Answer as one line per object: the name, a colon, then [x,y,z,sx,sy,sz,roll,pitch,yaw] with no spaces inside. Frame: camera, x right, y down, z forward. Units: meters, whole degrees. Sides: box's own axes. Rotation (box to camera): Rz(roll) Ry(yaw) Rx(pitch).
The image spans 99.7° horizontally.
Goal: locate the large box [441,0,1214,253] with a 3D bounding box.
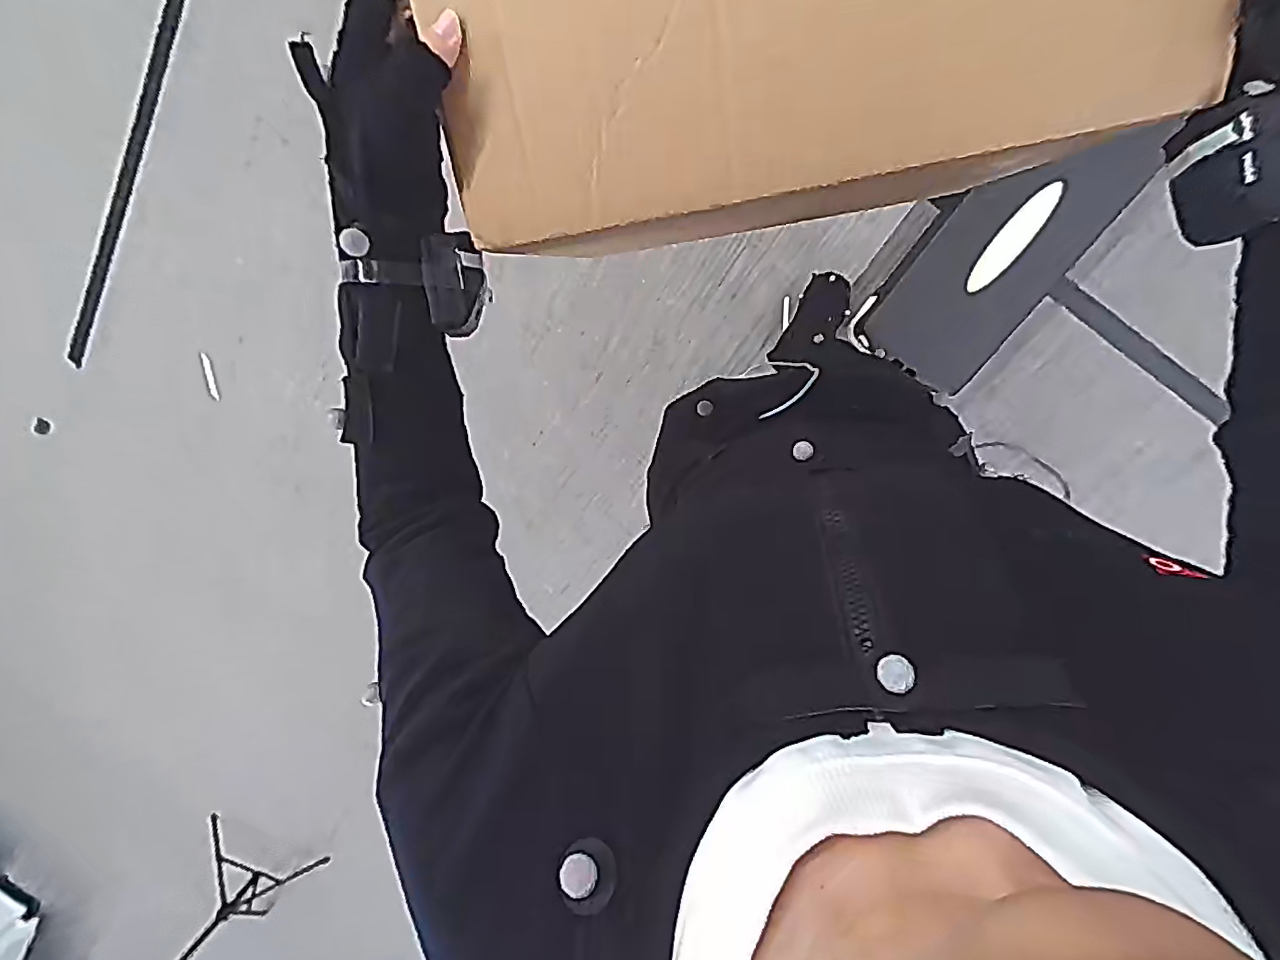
large box: [0.091,-0.375,0.406,0.408,0.320,0.320,-6,111,10]
